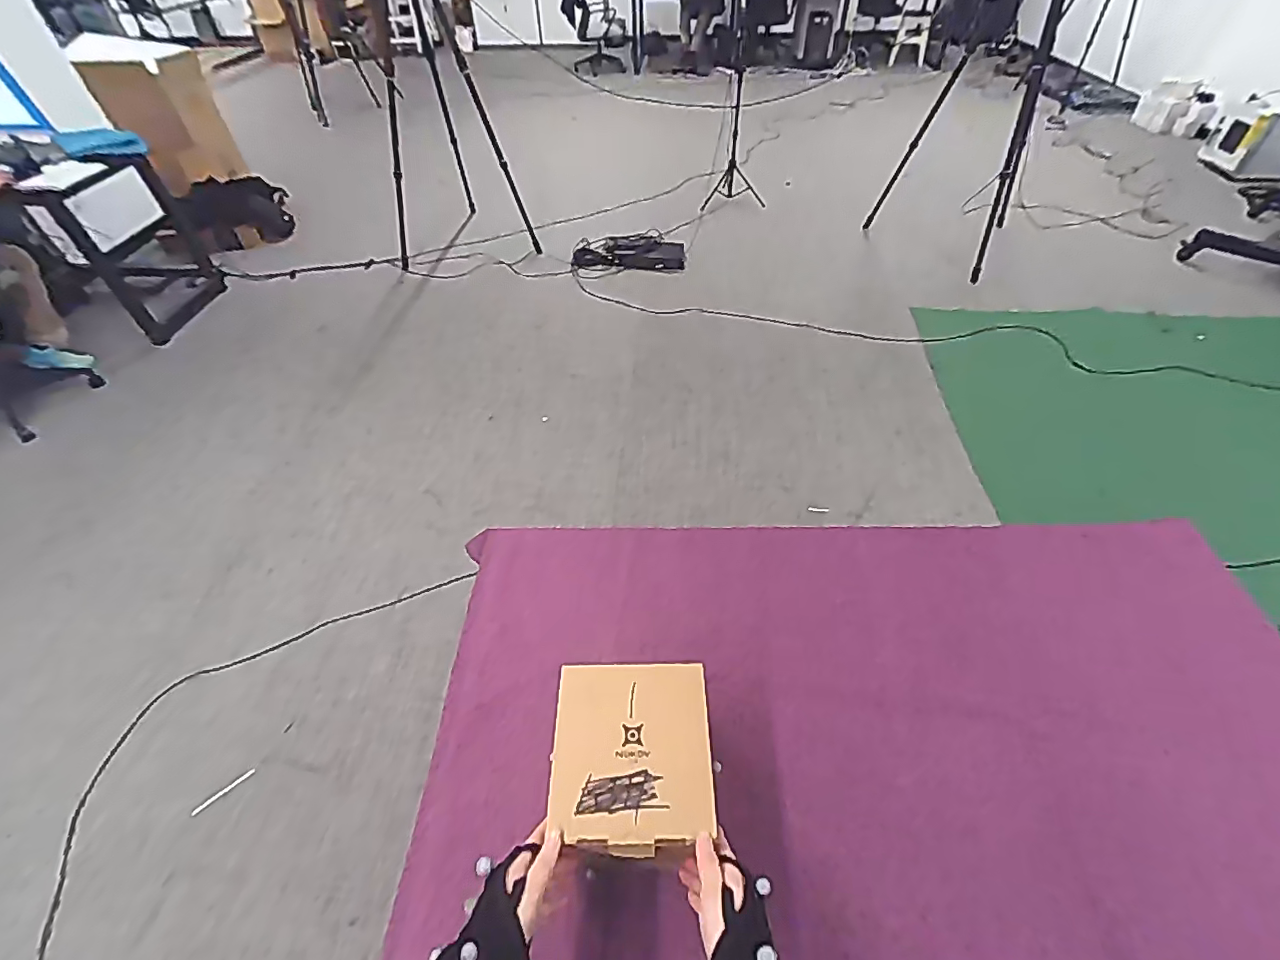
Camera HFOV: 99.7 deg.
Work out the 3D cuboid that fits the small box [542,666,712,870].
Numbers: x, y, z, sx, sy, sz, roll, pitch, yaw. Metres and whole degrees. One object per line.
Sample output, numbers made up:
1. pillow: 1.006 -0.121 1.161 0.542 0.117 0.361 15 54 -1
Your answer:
1. small box: -0.008 0.333 0.622 0.168 0.176 0.179 -1 46 1
